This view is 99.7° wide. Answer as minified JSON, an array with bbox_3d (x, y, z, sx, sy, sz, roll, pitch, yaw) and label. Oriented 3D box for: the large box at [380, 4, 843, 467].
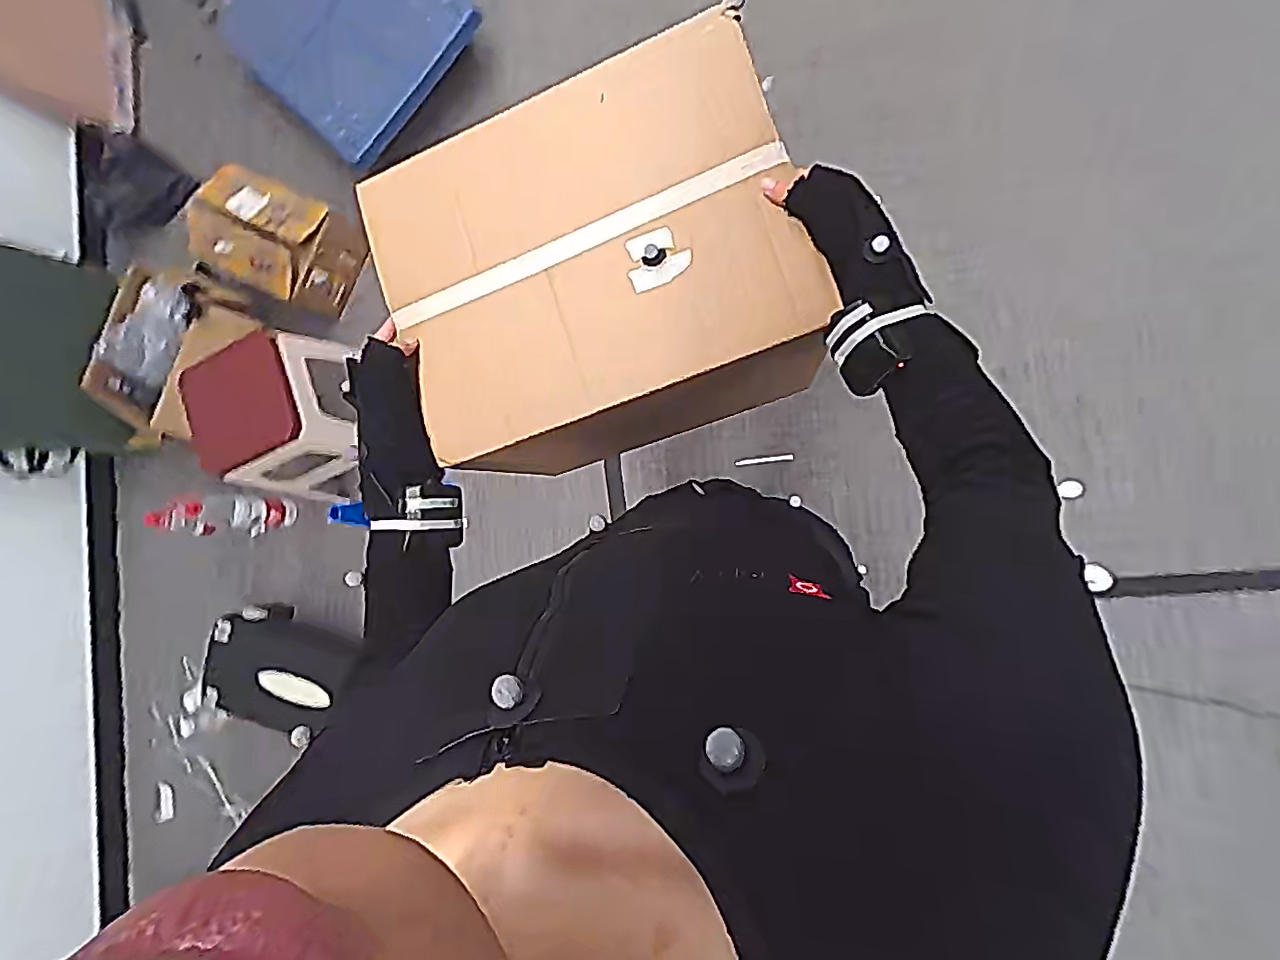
[{"bbox_3d":[-0.020,-0.228,0.664,0.408,0.320,0.320,-17,85,11],"label":"large box"}]
